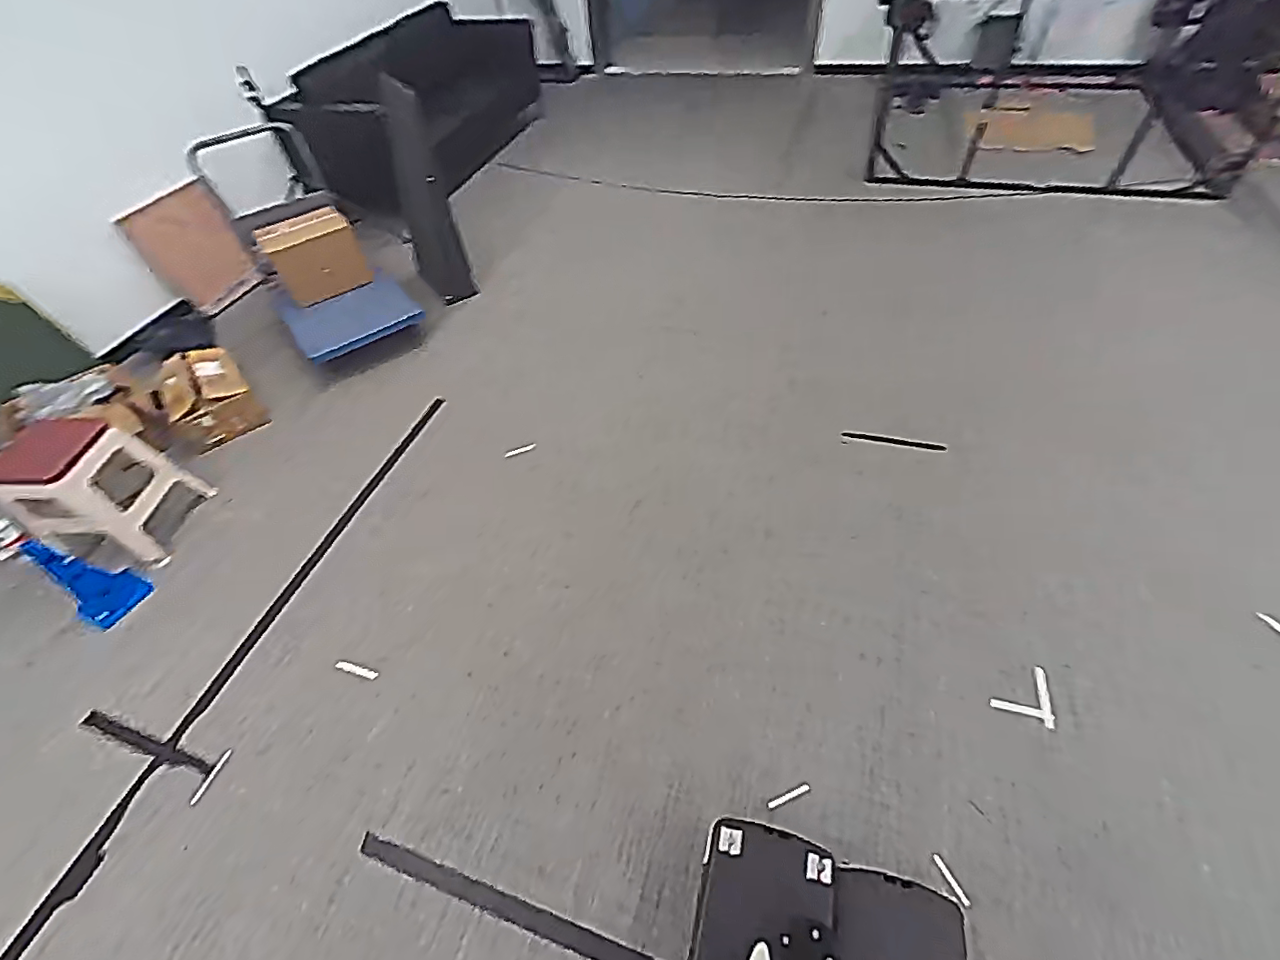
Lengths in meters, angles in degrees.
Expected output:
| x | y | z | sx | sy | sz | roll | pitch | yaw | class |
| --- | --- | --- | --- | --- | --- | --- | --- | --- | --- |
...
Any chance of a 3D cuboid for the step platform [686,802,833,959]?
| x | y | z | sx | sy | sz | roll | pitch | yaw | class |
| --- | --- | --- | --- | --- | --- | --- | --- | --- | --- |
| 0.230 | 1.074 | 1.128 | 0.286 | 0.204 | 0.684 | 10 | 51 | 13 | step platform |
